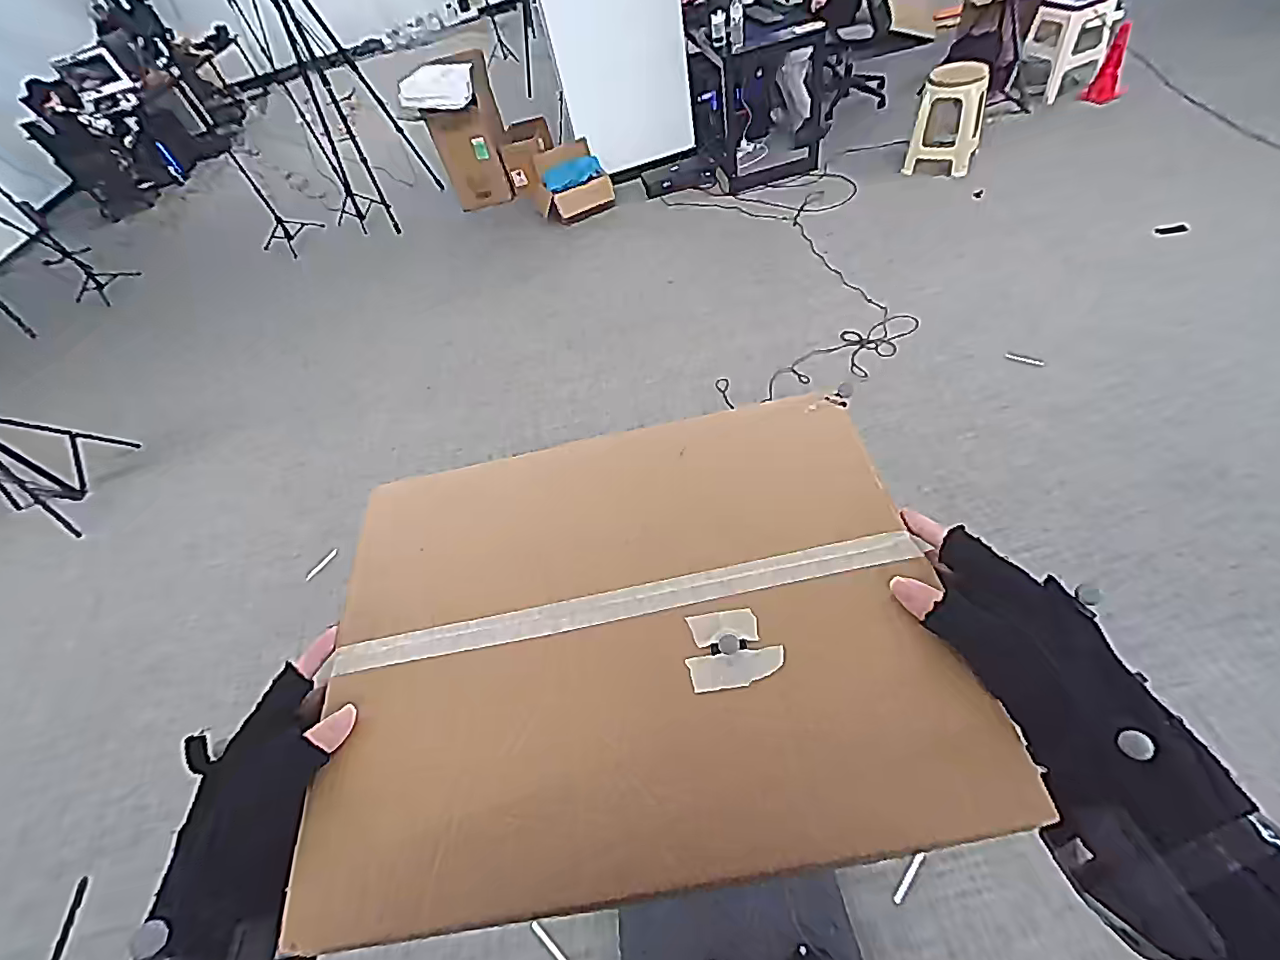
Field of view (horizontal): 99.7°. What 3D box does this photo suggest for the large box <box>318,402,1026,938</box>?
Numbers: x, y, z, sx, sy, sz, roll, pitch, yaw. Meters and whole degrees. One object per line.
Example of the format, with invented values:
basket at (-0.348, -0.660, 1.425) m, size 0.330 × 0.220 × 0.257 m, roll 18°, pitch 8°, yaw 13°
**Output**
large box at (0.014, 0.180, 0.499) m, size 0.408 × 0.320 × 0.320 m, roll -12°, pitch 53°, yaw 2°
